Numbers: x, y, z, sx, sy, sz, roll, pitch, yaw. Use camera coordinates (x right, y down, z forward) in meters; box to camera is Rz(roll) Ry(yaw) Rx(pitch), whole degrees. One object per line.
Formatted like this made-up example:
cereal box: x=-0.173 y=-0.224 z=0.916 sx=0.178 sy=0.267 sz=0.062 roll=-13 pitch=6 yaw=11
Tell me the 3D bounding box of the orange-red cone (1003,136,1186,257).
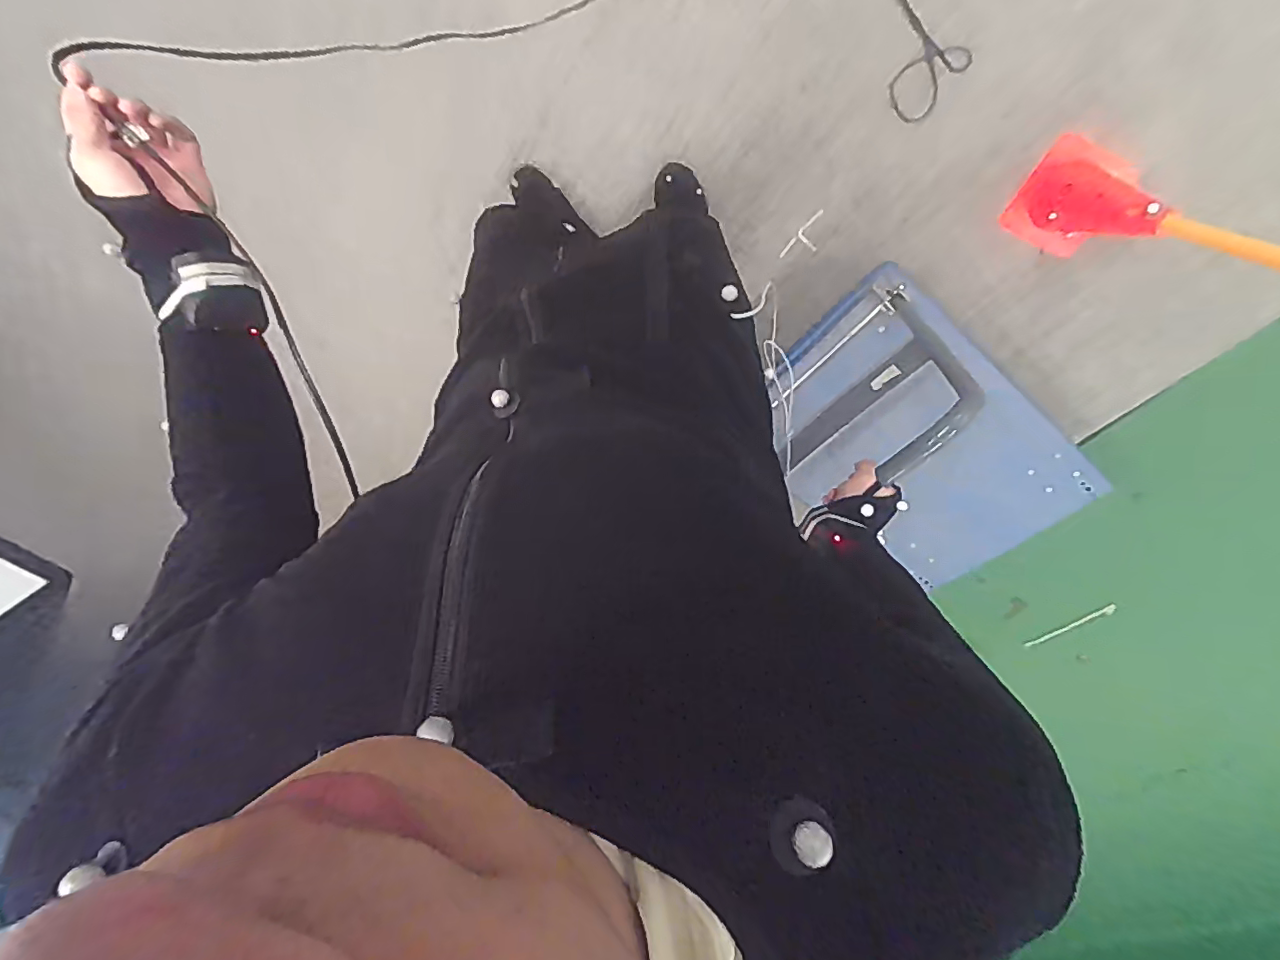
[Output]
orange-red cone: x=0.930 y=-0.532 z=1.063 sx=0.198 sy=0.360 sz=0.199 roll=23 pitch=123 yaw=-7
